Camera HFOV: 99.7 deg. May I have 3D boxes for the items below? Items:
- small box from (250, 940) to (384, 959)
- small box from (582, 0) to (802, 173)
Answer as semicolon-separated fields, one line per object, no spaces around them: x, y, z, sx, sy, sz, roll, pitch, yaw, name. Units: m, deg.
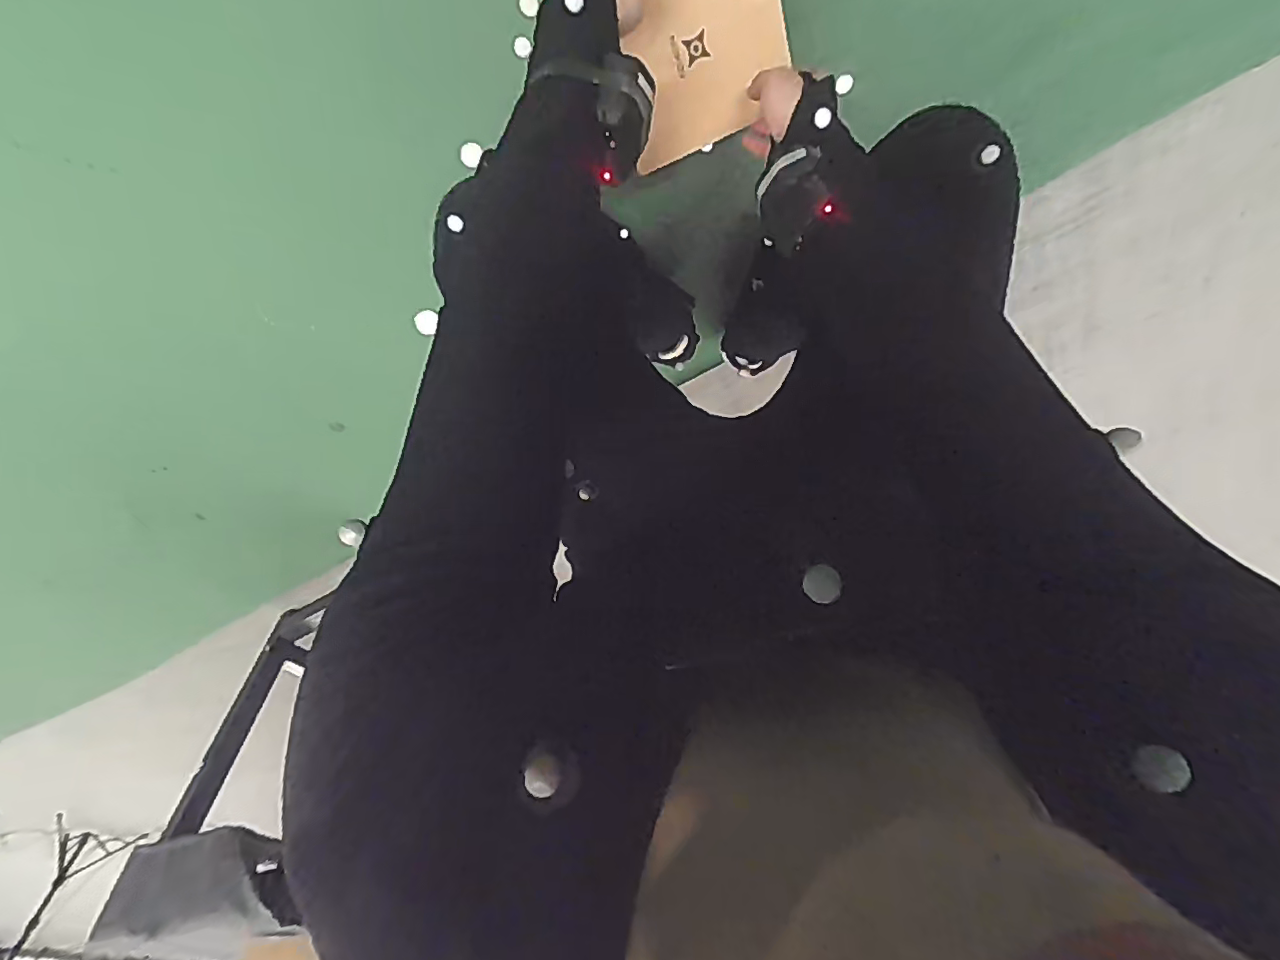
-0.566;0.886;0.898;0.179;0.176;0.168;-20;131;19;small box
0.046;-0.458;0.552;0.179;0.176;0.168;-18;136;12;small box
